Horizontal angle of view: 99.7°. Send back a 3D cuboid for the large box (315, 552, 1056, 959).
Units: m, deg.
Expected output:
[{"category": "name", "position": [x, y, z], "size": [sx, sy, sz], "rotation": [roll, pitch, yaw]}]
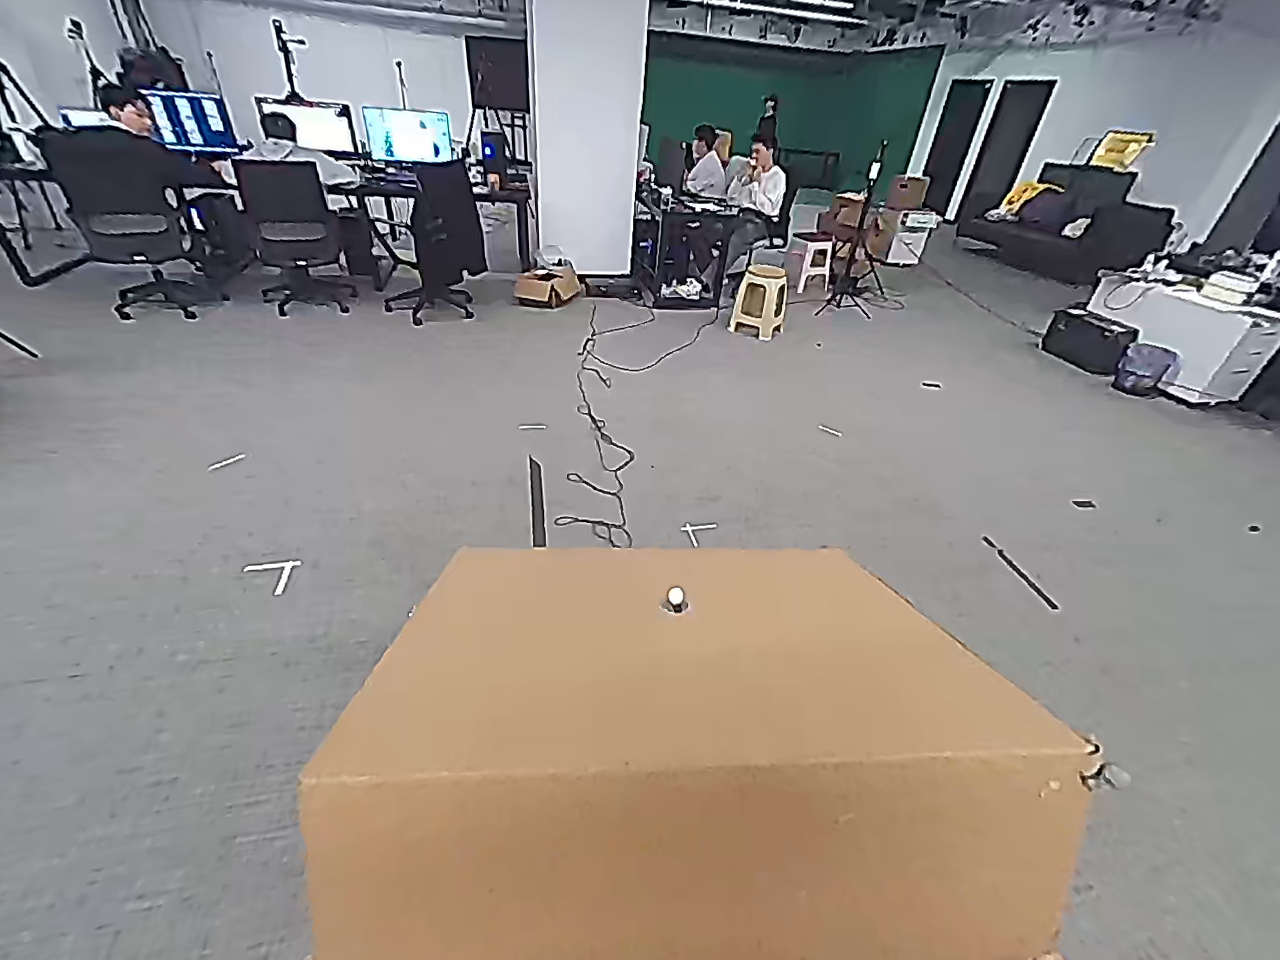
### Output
[{"category": "large box", "position": [0.020, 0.259, 0.460], "size": [0.408, 0.320, 0.320], "rotation": [0, 14, -5]}]
